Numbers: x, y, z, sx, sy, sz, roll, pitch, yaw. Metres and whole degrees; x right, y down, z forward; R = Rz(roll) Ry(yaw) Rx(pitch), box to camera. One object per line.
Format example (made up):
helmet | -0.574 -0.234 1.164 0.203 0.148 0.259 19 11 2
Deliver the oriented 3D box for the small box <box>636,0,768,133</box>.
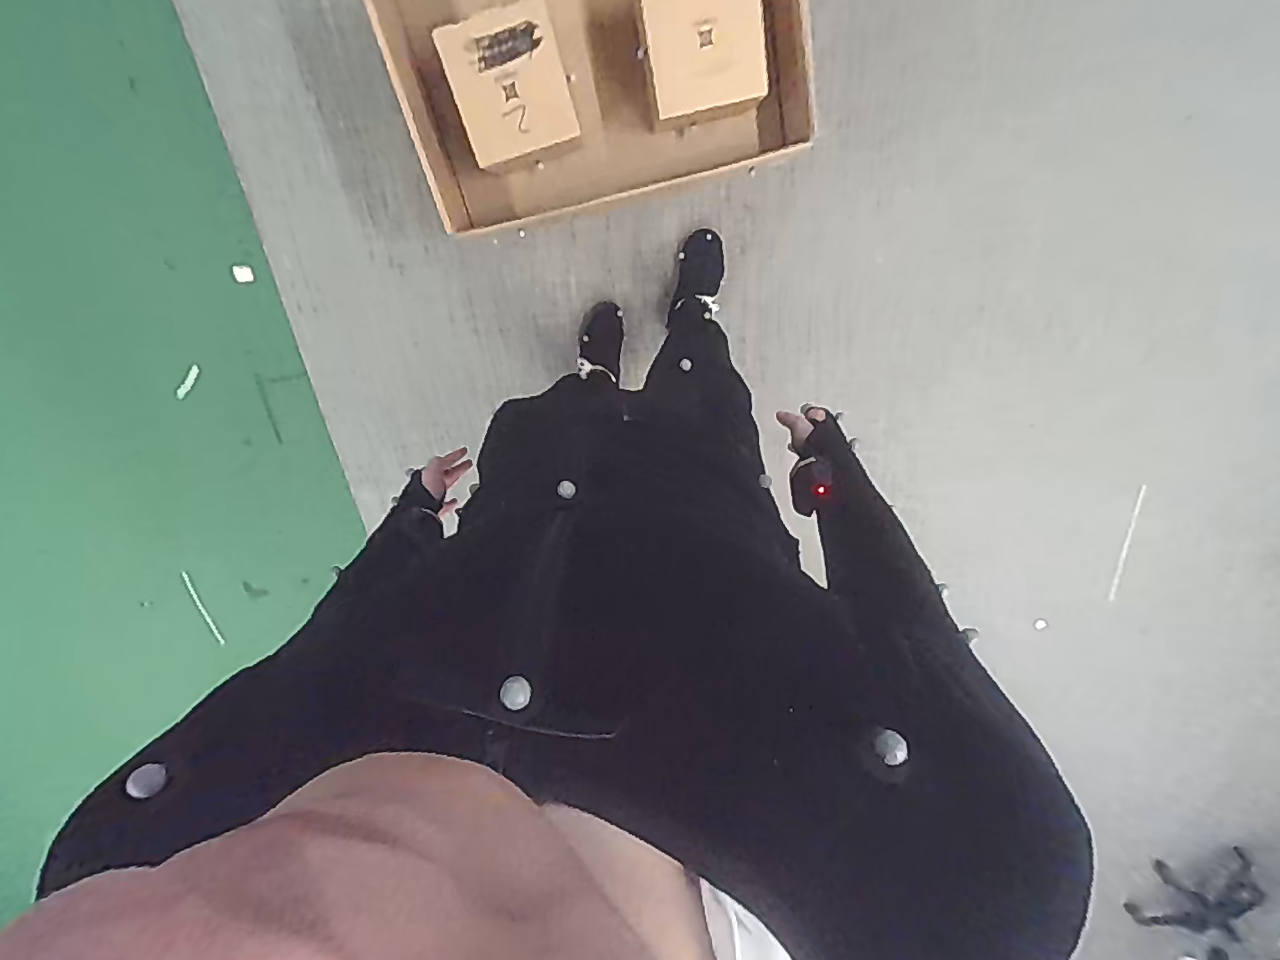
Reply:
small box | 0.089 -0.659 0.825 0.168 0.176 0.179 -11 115 3
